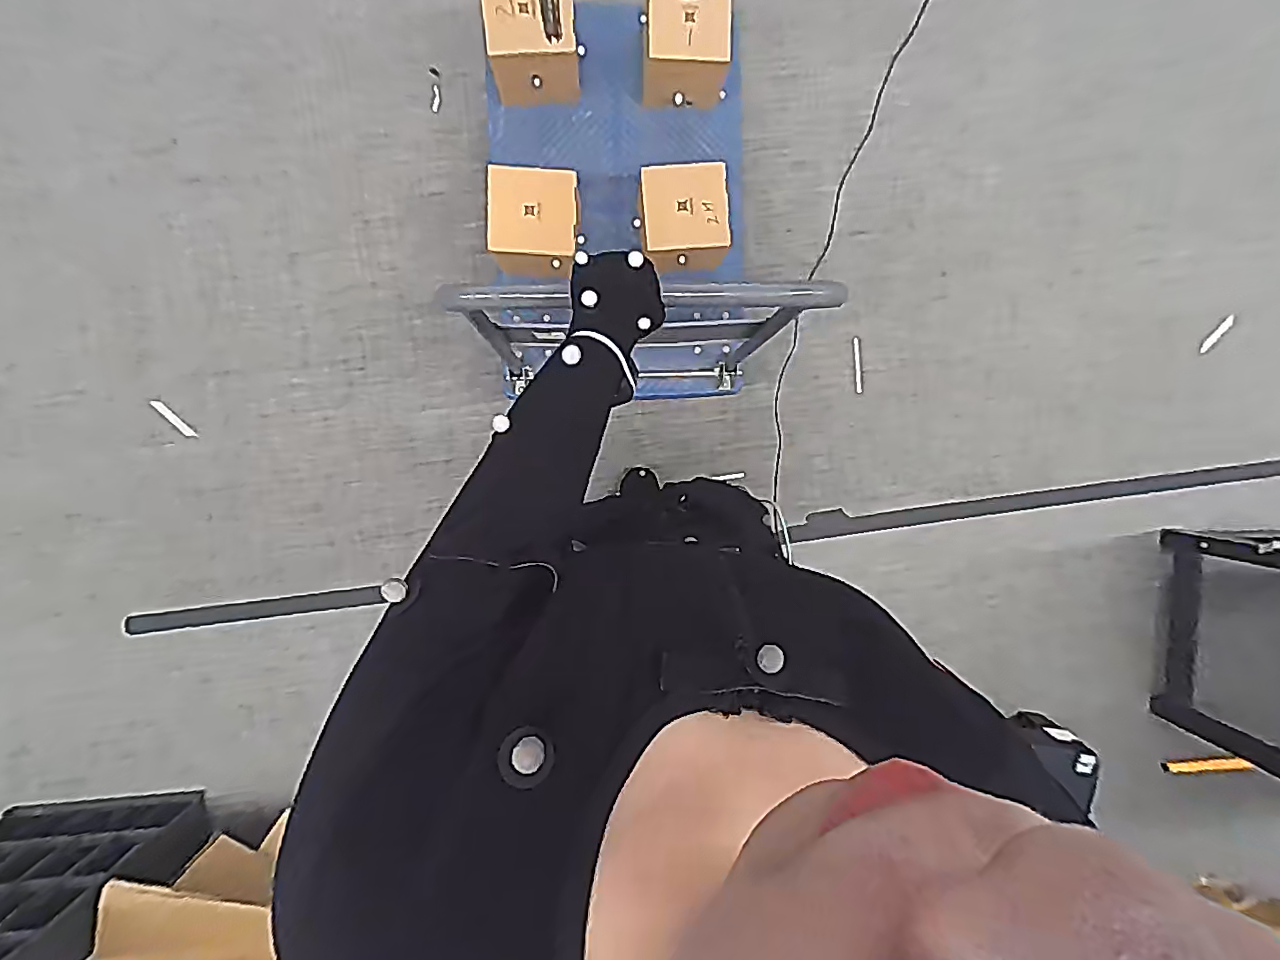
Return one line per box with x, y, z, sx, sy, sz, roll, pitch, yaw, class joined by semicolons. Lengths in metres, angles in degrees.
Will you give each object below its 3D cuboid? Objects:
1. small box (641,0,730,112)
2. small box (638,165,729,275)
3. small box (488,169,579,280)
0.090;-0.922;1.145;0.168;0.176;0.179;-1;96;-4;small box
0.088;-0.556;1.176;0.179;0.176;0.168;-5;95;-3;small box
-0.222;-0.537;1.158;0.179;0.176;0.168;1;95;-6;small box
